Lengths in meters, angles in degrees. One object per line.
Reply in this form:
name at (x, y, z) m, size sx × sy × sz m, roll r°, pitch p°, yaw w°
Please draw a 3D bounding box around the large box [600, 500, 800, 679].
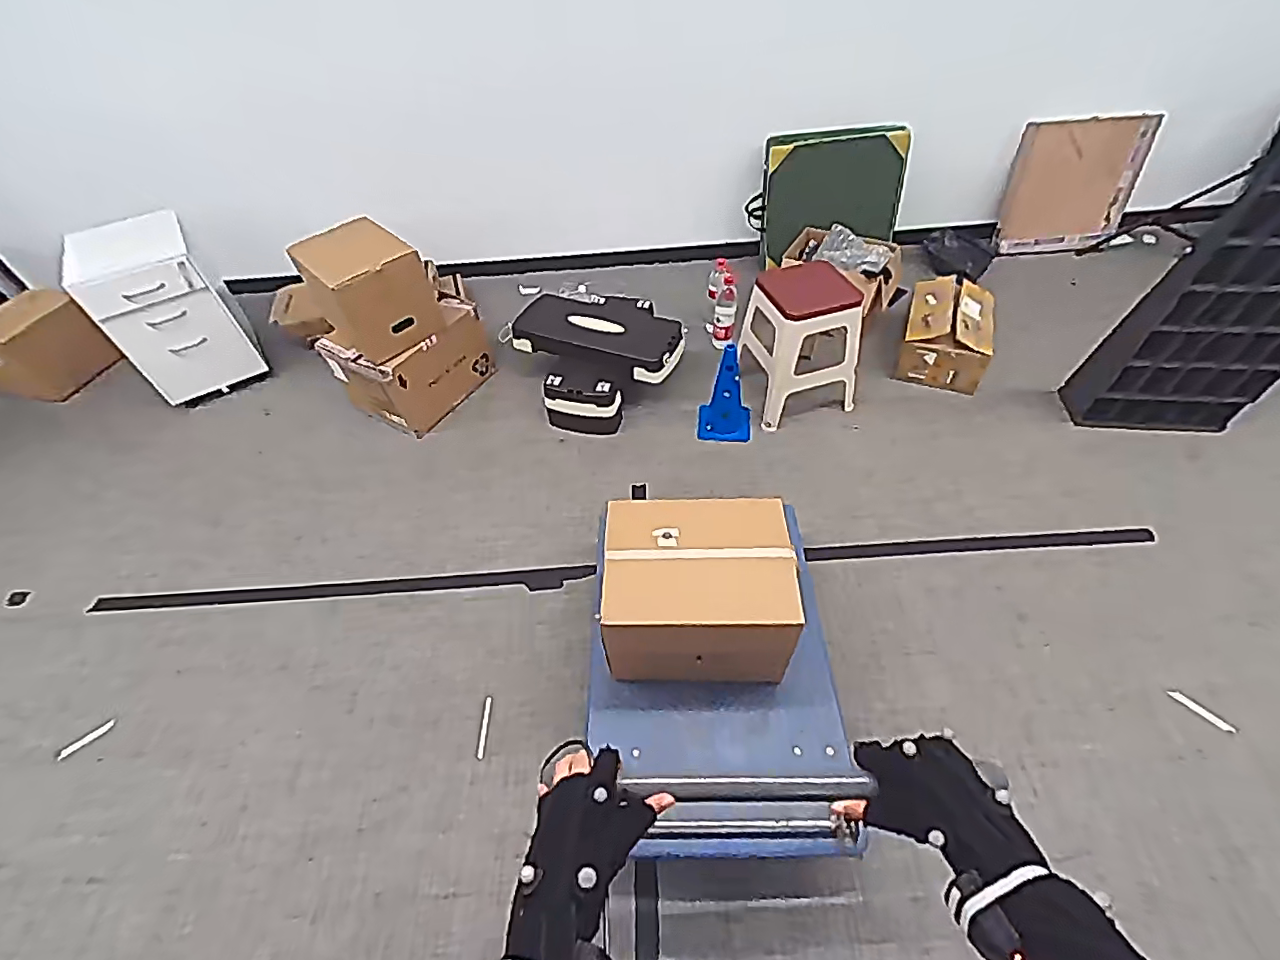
large box at (0.129, 0.265, 1.277) m, size 0.408 × 0.320 × 0.320 m, roll -1°, pitch 50°, yaw 3°
